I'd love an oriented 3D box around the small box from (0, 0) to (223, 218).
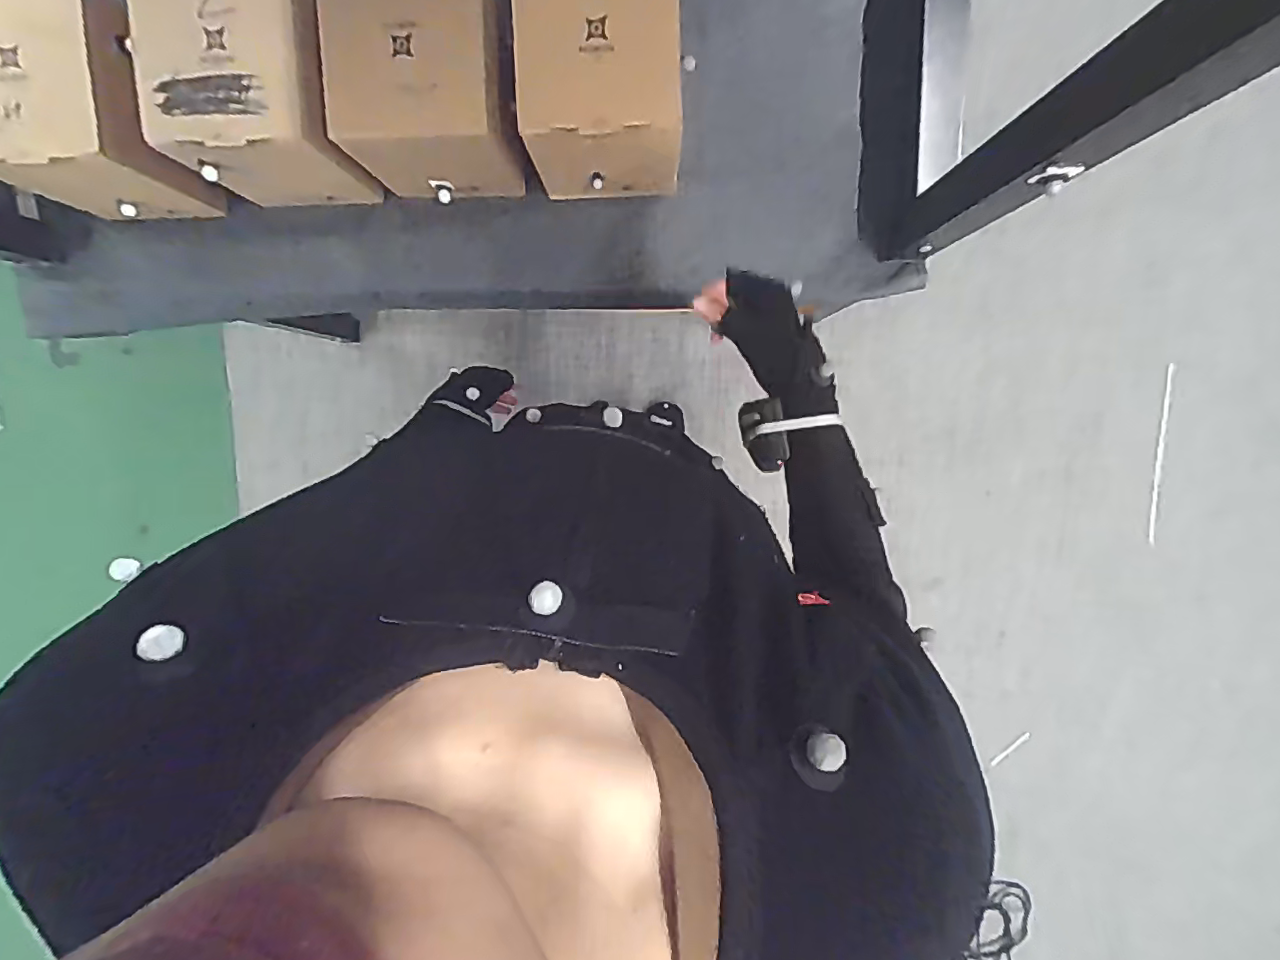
[{"bbox_3d":[-0.624,-0.421,0.617,0.168,0.176,0.179,-1,97,1],"label":"small box"}]
